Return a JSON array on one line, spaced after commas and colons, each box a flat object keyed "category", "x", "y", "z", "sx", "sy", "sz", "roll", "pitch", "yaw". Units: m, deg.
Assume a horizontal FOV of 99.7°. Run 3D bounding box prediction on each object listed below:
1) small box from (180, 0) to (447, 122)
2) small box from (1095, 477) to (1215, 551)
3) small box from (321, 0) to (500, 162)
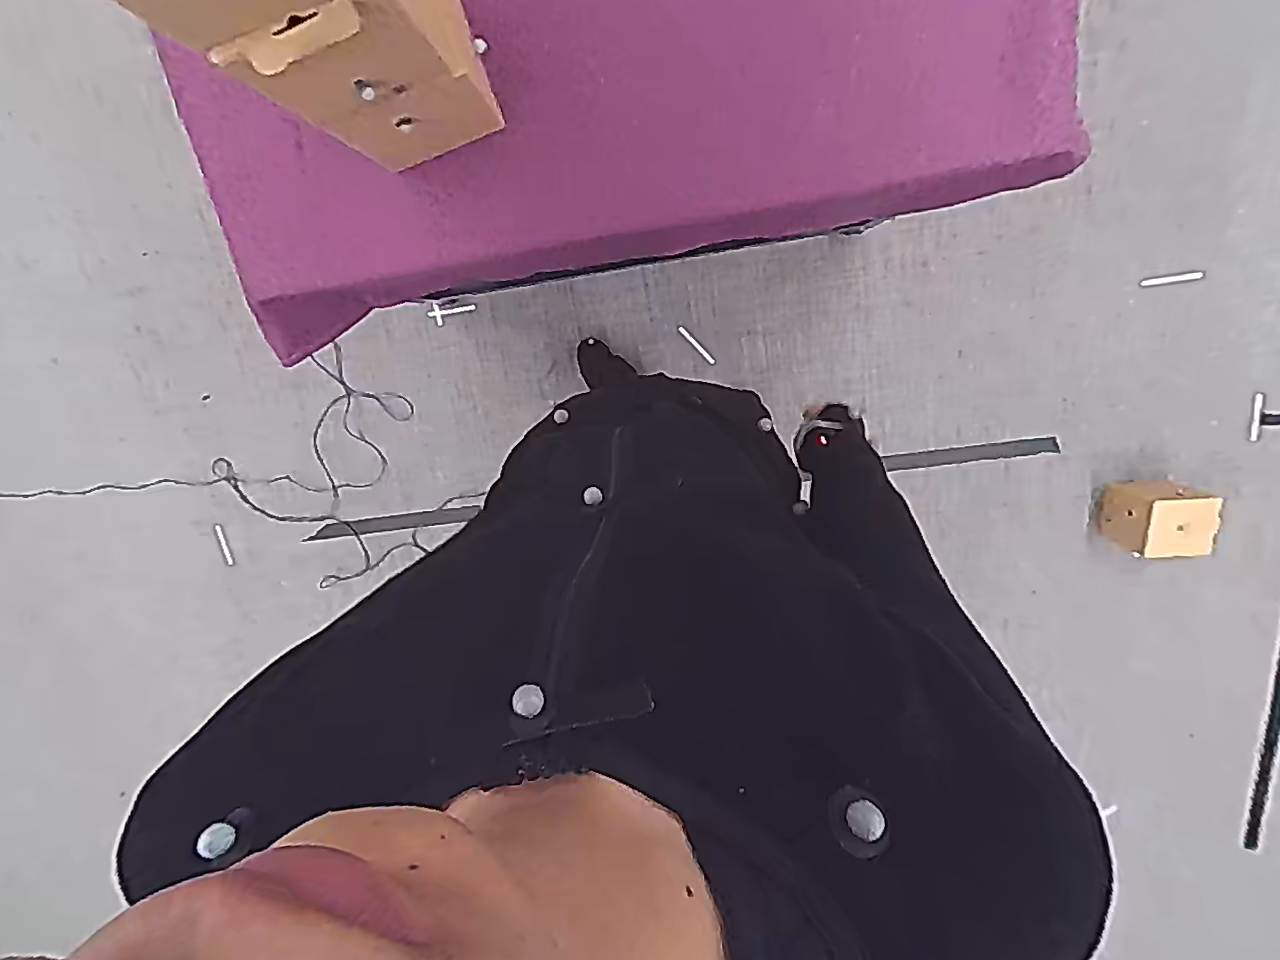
[{"category": "small box", "x": -0.313, "y": -0.480, "z": 0.502, "sx": 0.168, "sy": 0.176, "sz": 0.179, "roll": -19, "pitch": 105, "yaw": 8}, {"category": "small box", "x": 1.457, "y": 0.094, "z": 1.544, "sx": 0.179, "sy": 0.176, "sz": 0.168, "roll": -4, "pitch": 106, "yaw": 3}, {"category": "small box", "x": -0.298, "y": -0.522, "z": 0.661, "sx": 0.179, "sy": 0.176, "sz": 0.168, "roll": -18, "pitch": 105, "yaw": 6}]
